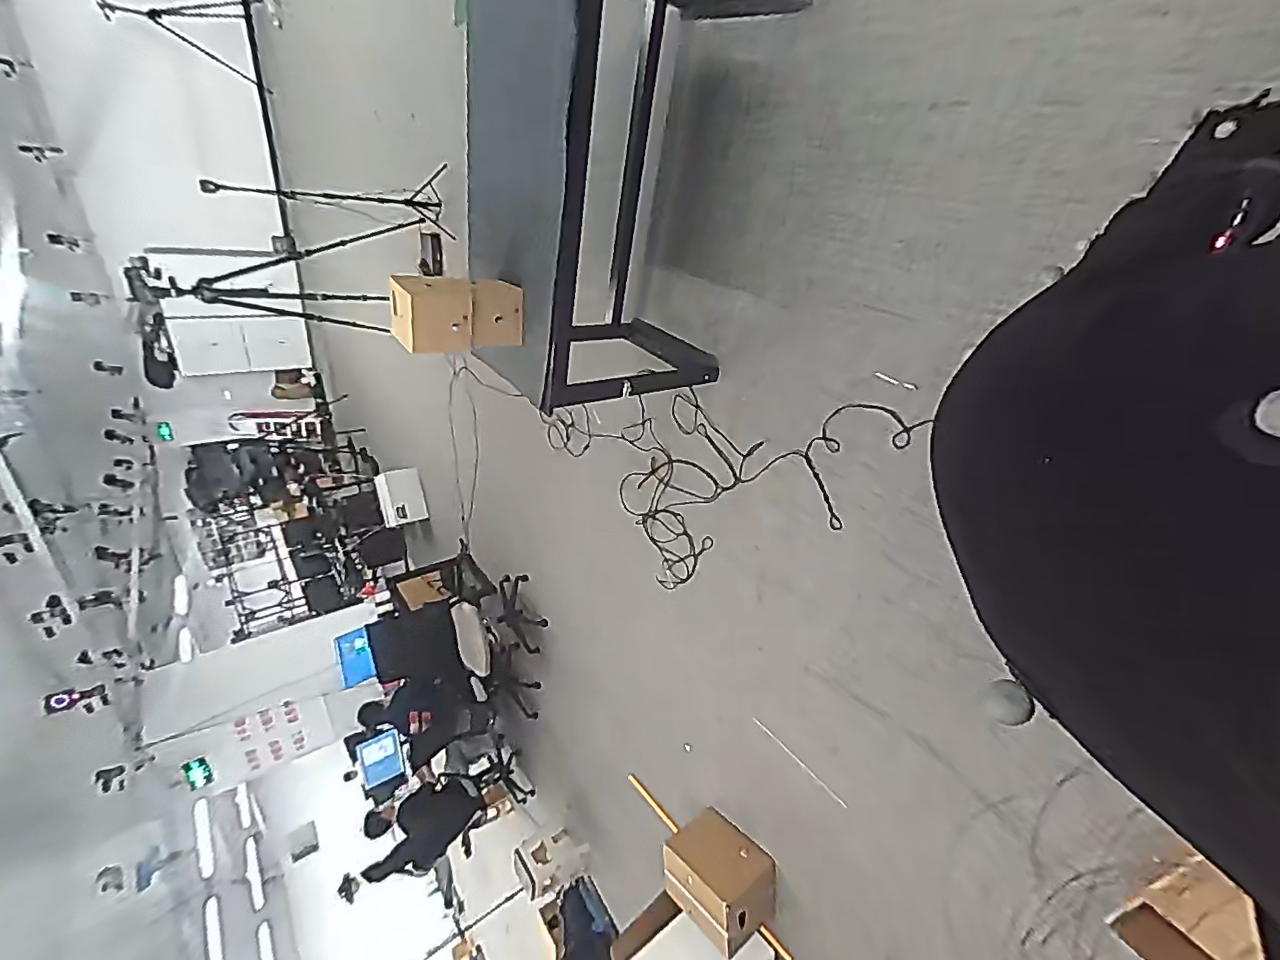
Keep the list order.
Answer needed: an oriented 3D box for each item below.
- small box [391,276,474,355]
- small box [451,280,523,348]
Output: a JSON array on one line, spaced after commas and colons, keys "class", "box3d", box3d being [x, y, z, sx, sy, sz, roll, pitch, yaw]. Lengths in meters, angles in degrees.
[{"class": "small box", "box3d": [-0.582, -0.462, 1.514, 0.179, 0.176, 0.168, 41, 131, 37]}, {"class": "small box", "box3d": [-0.463, -0.502, 1.621, 0.179, 0.176, 0.168, 34, 126, 43]}]
